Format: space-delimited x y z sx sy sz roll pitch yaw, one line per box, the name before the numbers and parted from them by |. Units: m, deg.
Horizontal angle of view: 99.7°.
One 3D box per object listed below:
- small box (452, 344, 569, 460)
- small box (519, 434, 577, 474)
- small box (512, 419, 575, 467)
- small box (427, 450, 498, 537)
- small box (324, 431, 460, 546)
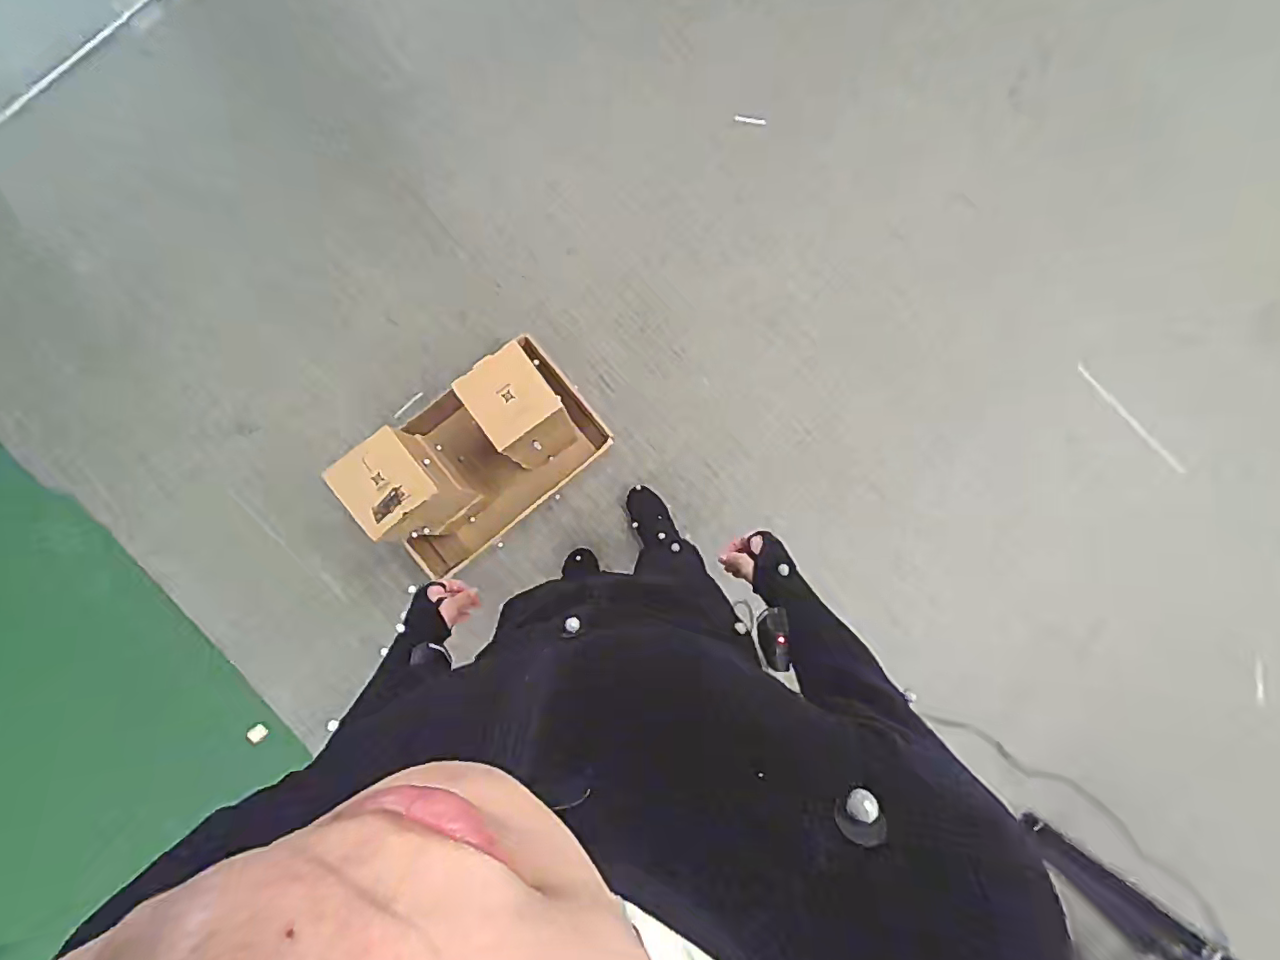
small box | -0.275 -0.161 1.187 0.168 0.176 0.179 -37 88 -4
small box | -0.294 -0.133 1.511 0.168 0.176 0.179 -39 88 -5
small box | -0.280 -0.150 1.350 0.168 0.176 0.179 -37 87 -4
small box | -0.521 0.044 1.489 0.168 0.176 0.179 -39 87 -4
small box | -0.518 0.022 1.162 0.168 0.176 0.179 -39 86 -5
